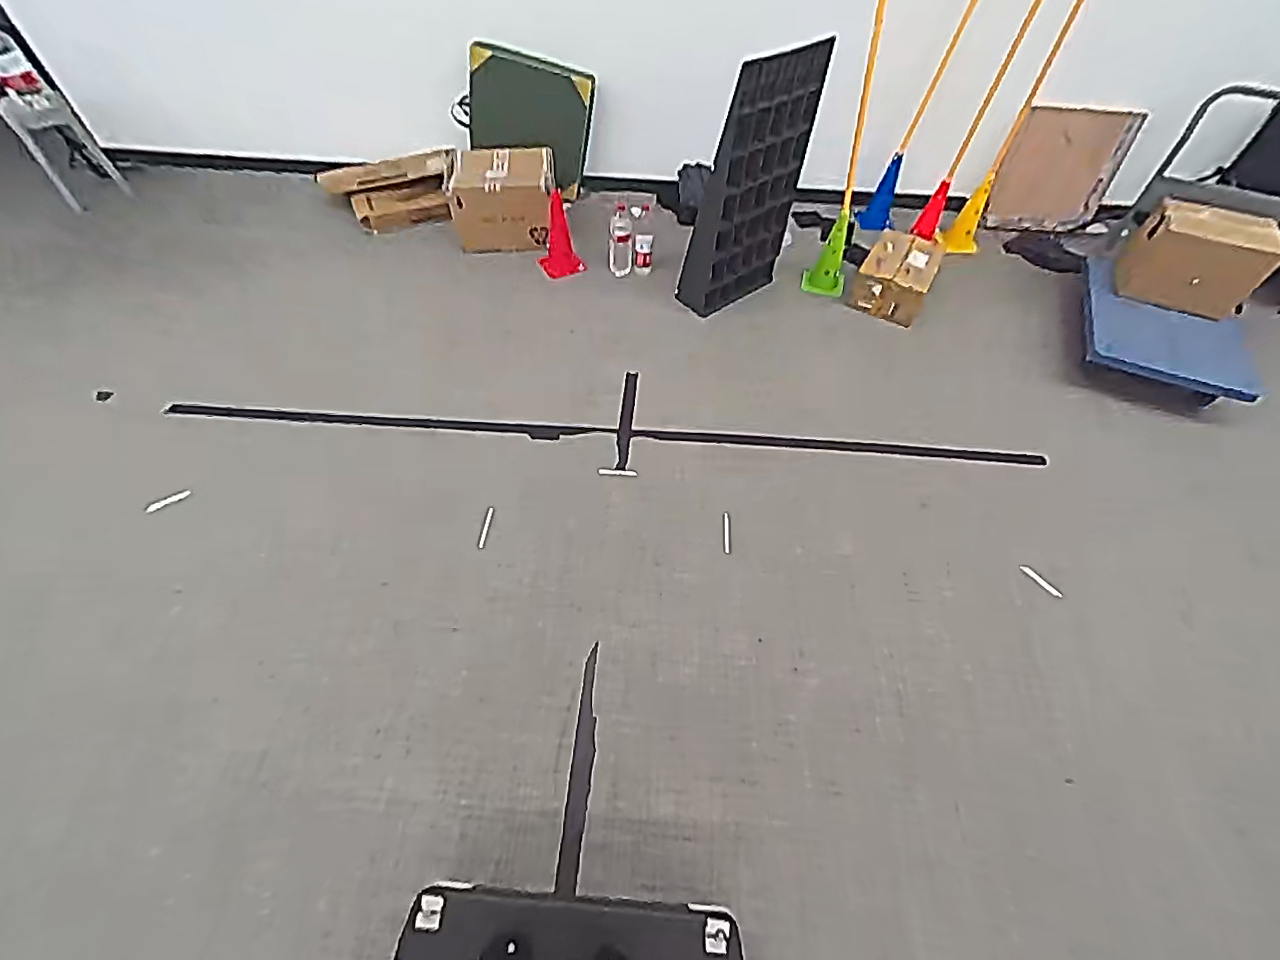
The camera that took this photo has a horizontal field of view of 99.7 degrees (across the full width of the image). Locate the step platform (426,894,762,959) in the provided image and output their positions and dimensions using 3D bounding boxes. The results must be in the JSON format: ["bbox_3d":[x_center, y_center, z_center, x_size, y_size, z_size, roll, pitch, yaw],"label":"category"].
[{"bbox_3d":[-0.088,1.029,1.037,0.684,0.204,0.286,8,52,4],"label":"step platform"}]
